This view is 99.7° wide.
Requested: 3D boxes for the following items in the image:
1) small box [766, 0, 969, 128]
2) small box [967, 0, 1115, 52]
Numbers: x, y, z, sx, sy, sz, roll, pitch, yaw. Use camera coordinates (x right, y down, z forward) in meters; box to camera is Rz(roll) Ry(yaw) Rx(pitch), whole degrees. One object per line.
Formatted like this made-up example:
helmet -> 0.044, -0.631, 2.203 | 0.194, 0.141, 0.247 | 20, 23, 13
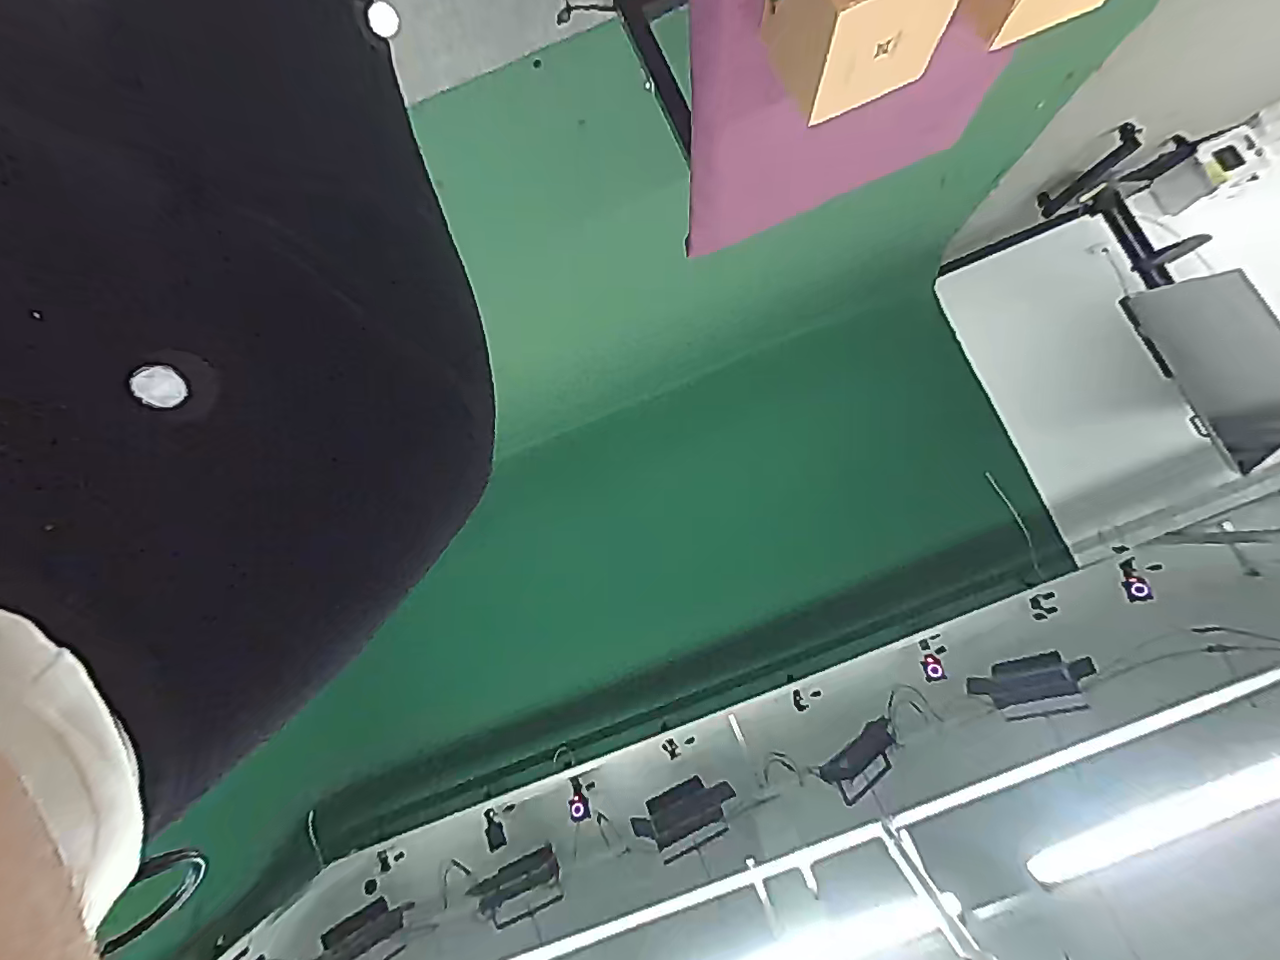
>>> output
small box -> 0.282, -0.605, 0.680 | 0.179, 0.176, 0.168 | -23, 170, 1
small box -> 0.537, -0.709, 0.681 | 0.179, 0.176, 0.168 | -21, 171, 1
